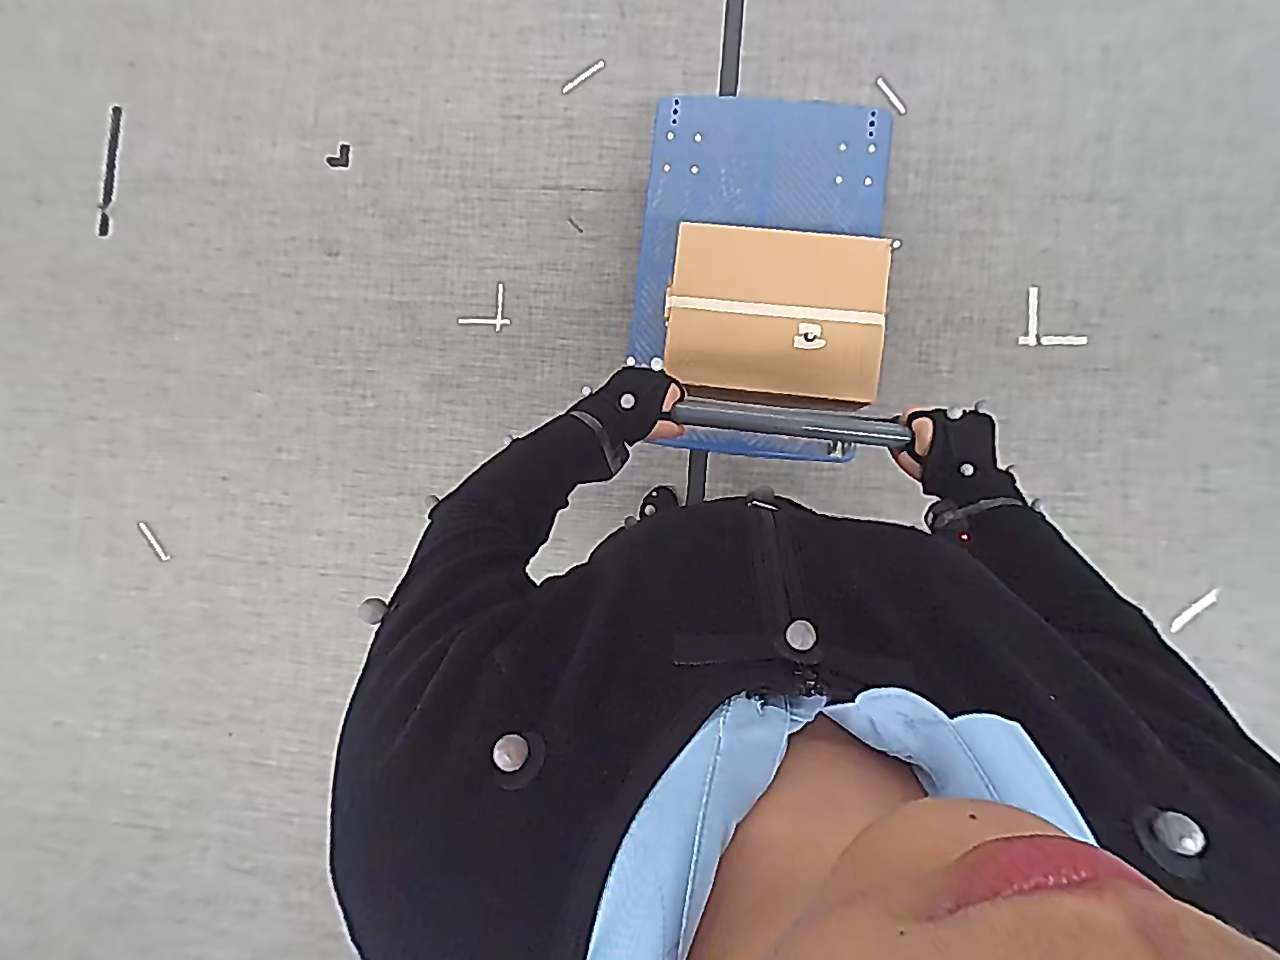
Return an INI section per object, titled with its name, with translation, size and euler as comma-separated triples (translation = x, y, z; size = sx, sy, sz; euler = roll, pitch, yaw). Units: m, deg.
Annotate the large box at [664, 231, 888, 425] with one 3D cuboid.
[large box]
translation = 0.263, -0.306, 1.177
size = 0.408, 0.320, 0.320
euler = 7, 90, 3
